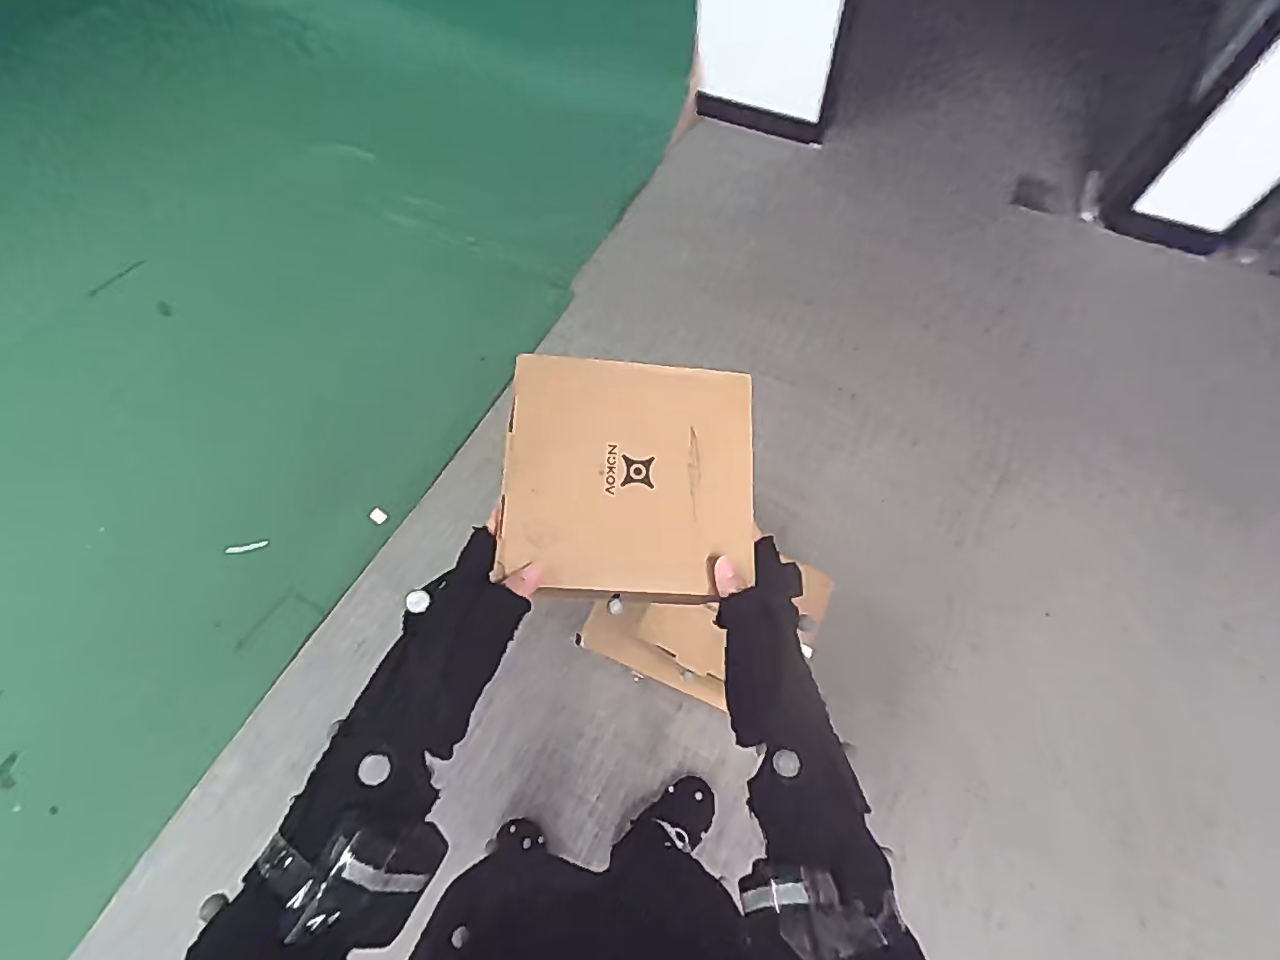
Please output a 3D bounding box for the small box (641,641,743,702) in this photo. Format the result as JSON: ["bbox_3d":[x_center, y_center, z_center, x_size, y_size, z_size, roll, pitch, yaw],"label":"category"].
[{"bbox_3d":[0.123,0.262,0.936,0.179,0.176,0.168,26,72,16],"label":"small box"}]

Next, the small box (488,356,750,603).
[{"bbox_3d":[-0.021,0.014,0.450,0.179,0.176,0.168,2,75,-8],"label":"small box"}]

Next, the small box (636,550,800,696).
[{"bbox_3d":[0.113,0.194,0.788,0.168,0.176,0.179,24,73,15],"label":"small box"}]
